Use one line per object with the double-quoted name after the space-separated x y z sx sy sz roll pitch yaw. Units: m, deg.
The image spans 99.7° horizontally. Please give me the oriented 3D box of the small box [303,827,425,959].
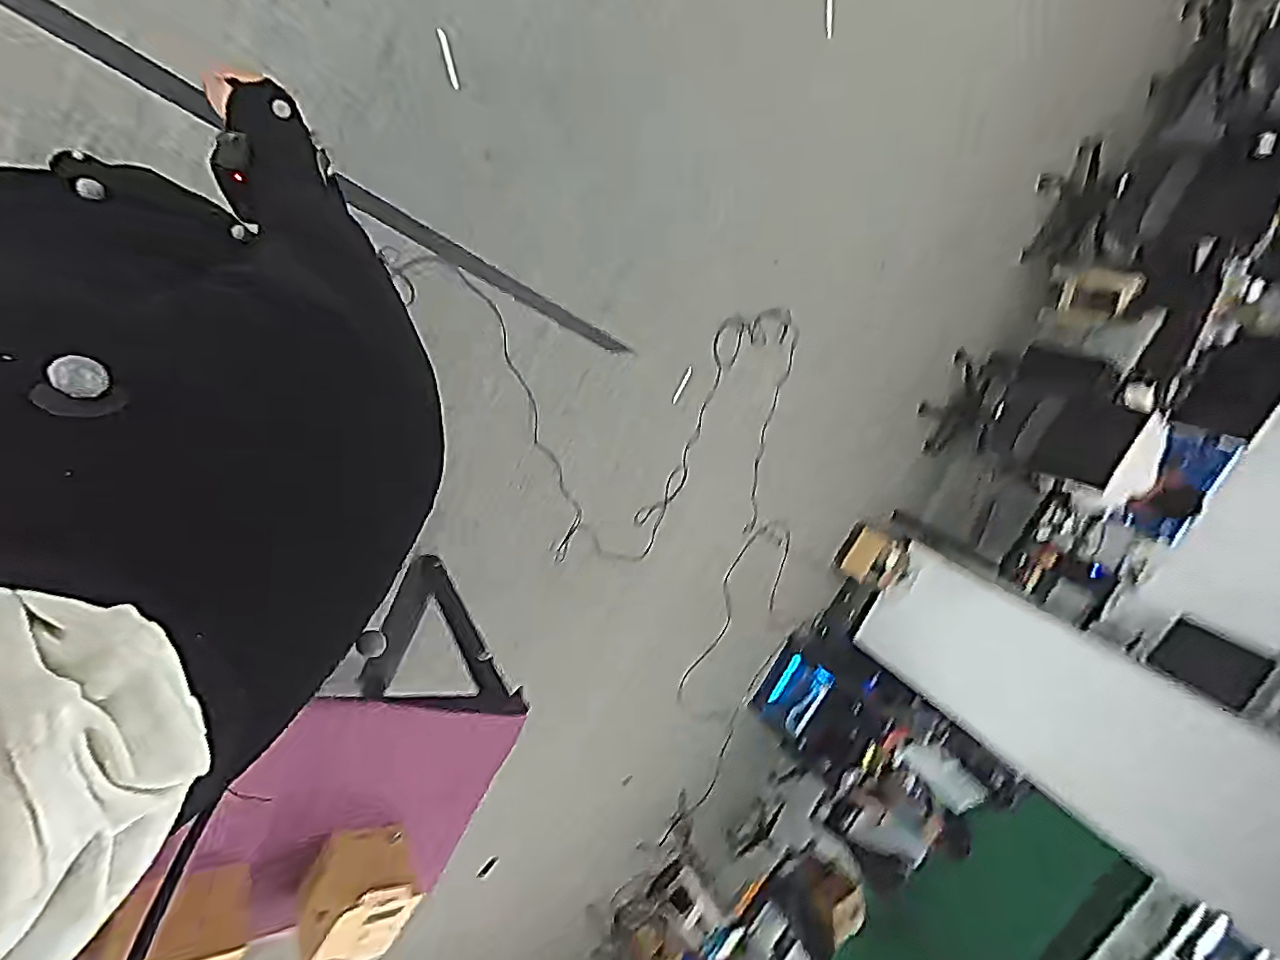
-0.596 0.877 1.158 0.168 0.176 0.179 27 97 -43 "small box"
